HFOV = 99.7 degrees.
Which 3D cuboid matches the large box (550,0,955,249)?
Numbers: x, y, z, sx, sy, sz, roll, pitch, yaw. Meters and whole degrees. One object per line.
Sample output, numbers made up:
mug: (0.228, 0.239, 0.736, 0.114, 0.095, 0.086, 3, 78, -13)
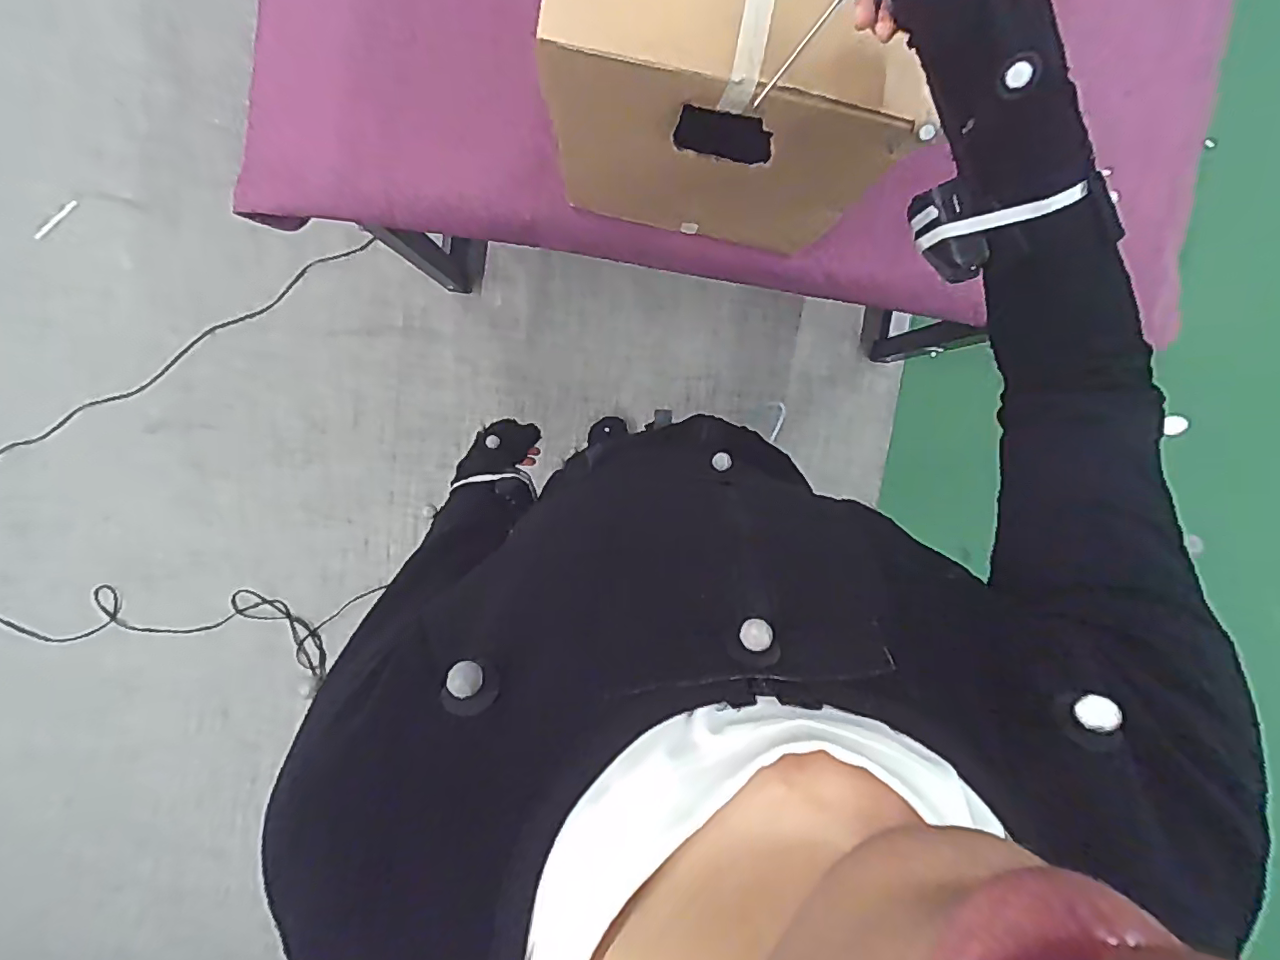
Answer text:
large box: (0.106, -0.513, 0.551, 0.320, 0.320, 0.408, 11, 96, -3)
